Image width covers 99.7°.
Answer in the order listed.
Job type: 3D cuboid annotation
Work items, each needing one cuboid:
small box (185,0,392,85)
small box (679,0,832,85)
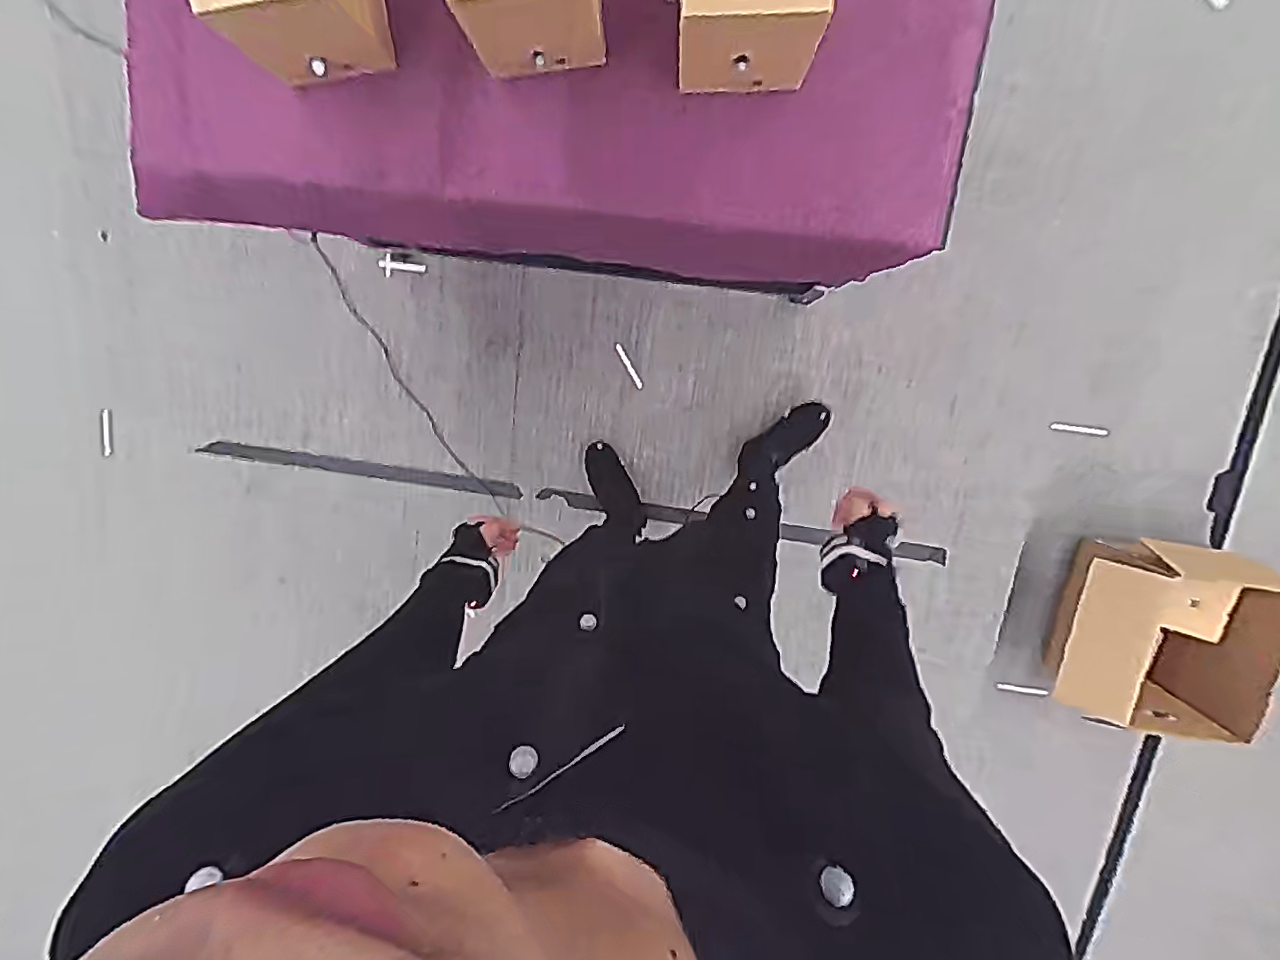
[{"bbox_3d":[-0.440,-0.640,0.673,0.168,0.176,0.179,-6,101,5],"label":"small box"},{"bbox_3d":[0.132,-0.605,0.644,0.168,0.176,0.179,1,101,3],"label":"small box"}]
